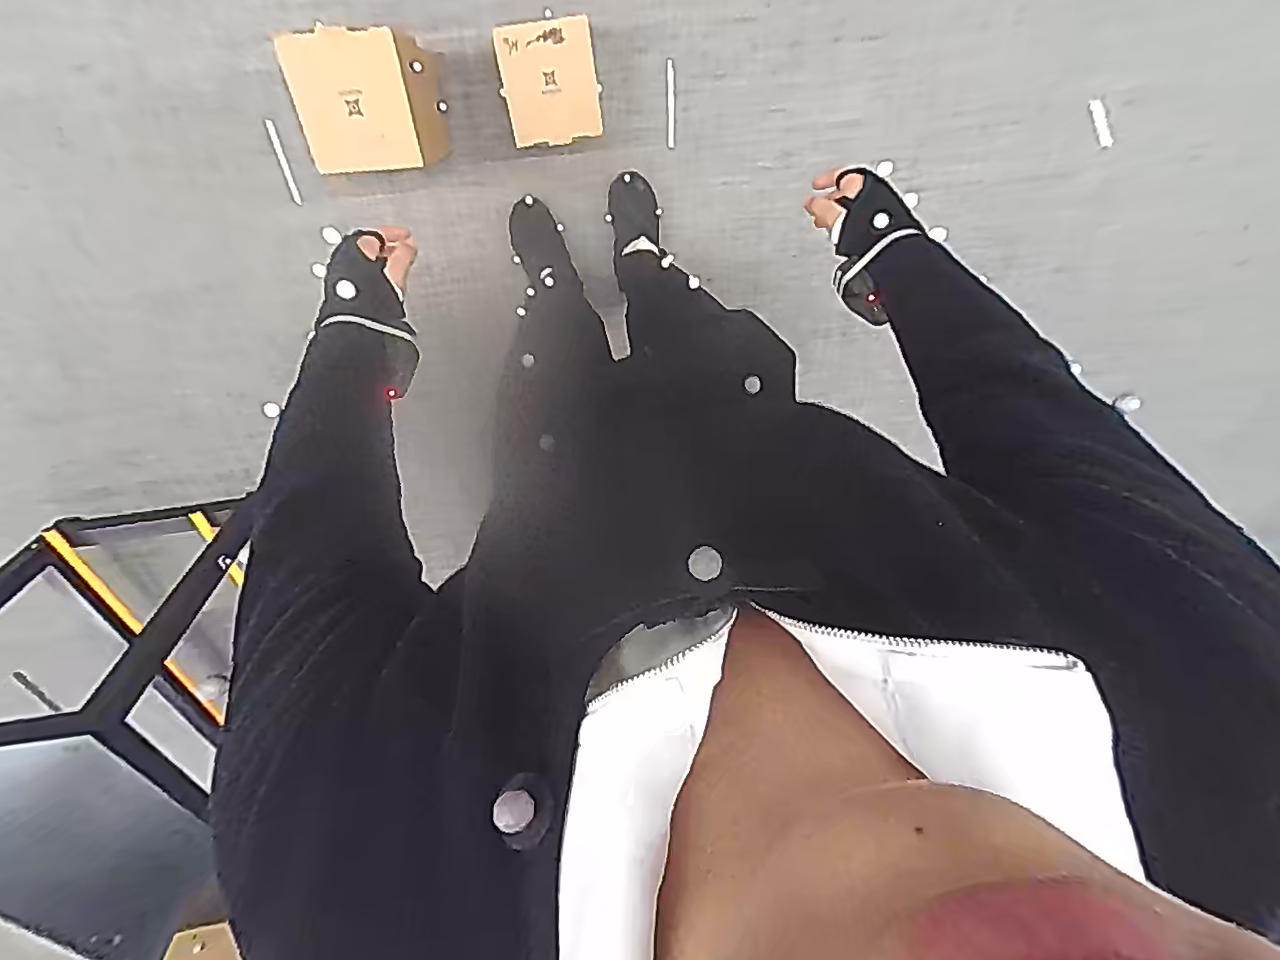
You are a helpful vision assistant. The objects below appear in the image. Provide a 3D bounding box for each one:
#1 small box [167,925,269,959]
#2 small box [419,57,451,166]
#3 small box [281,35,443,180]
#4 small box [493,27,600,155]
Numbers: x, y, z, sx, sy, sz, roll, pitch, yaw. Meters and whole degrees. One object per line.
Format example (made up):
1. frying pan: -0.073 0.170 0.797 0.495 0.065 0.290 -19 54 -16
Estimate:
1. small box: -1.108 1.287 1.396 0.168 0.176 0.179 -9 124 -2
2. small box: -0.465 -0.691 1.018 0.179 0.176 0.168 -6 125 -5
3. small box: -0.437 -0.604 0.884 0.168 0.176 0.179 -6 126 -3
4. small box: -0.171 -0.740 1.034 0.168 0.176 0.179 -10 126 -2
